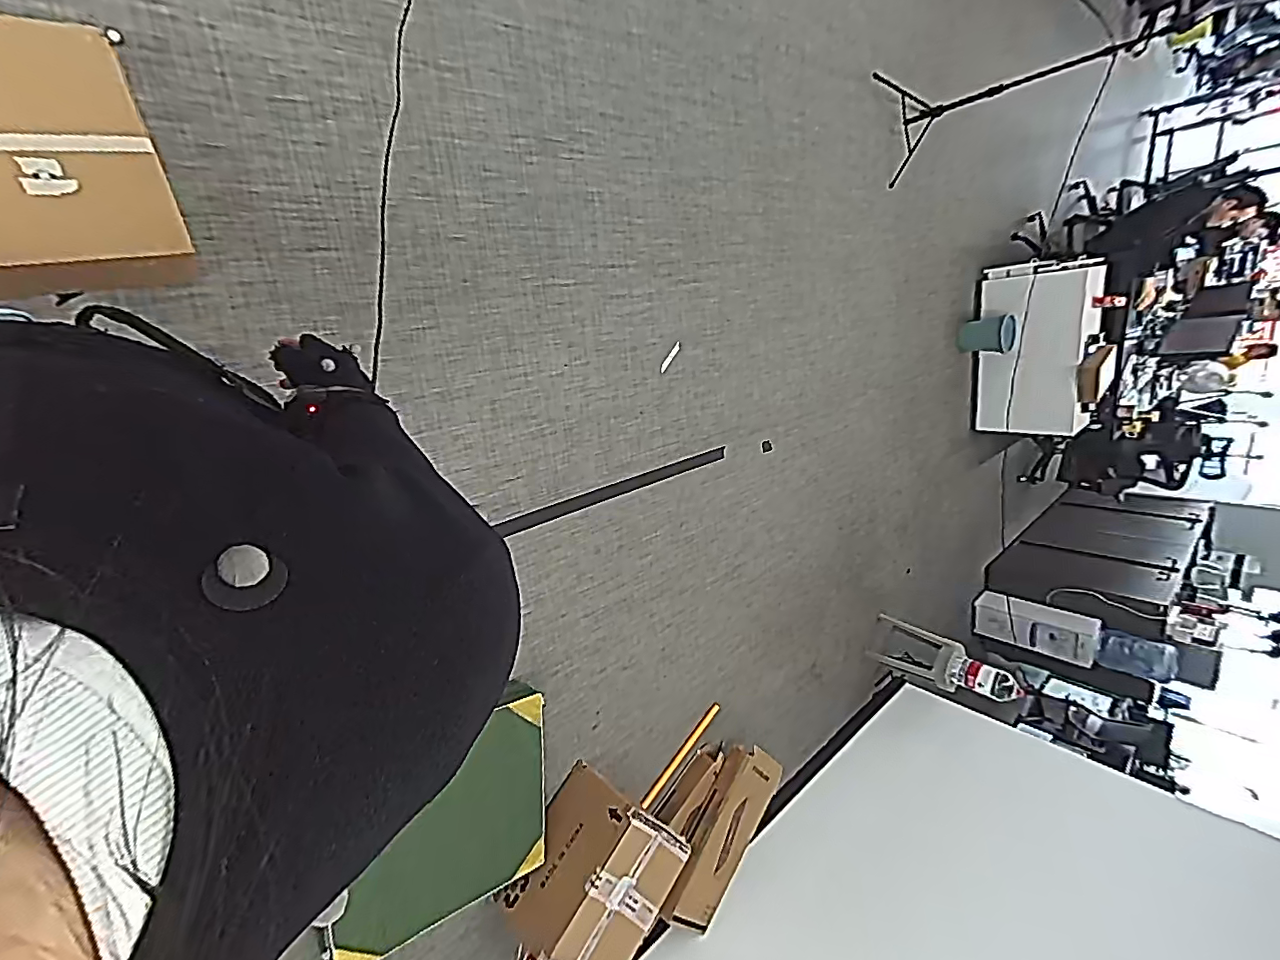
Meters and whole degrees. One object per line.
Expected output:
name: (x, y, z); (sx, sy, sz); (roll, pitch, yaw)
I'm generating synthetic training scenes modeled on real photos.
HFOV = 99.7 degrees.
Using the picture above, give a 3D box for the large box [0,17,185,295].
large box: (-1.018, -0.476, 0.841); (0.408, 0.320, 0.320); (-23, 112, -36)
